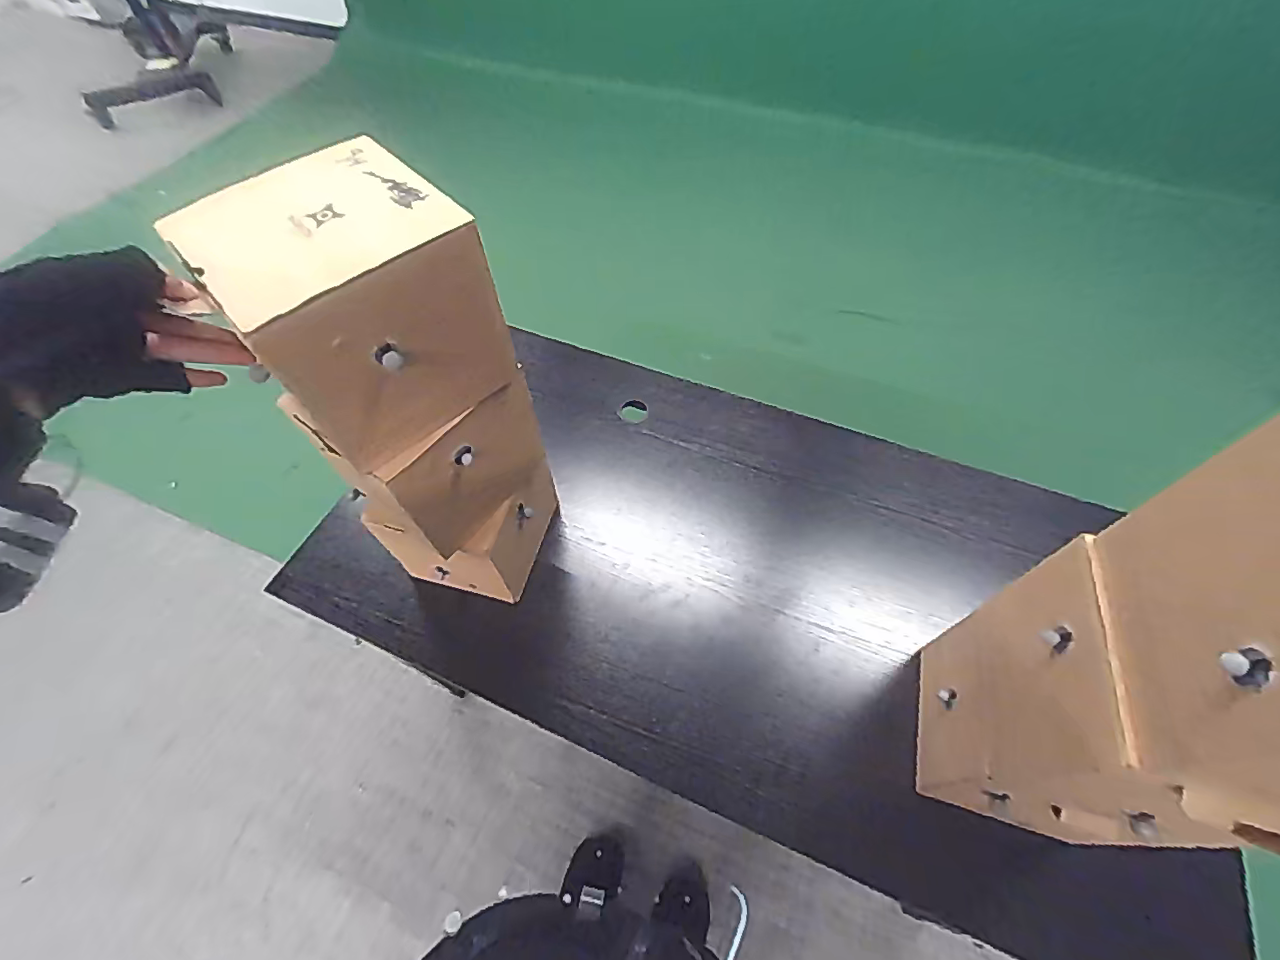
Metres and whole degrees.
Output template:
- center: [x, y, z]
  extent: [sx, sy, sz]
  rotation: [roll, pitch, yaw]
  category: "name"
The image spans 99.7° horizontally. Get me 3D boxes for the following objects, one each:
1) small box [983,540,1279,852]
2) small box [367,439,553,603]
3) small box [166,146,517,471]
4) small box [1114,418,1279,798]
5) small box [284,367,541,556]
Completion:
- center: [0.408, 0.178, 0.442]
  extent: [0.168, 0.176, 0.179]
  rotation: [12, 58, 10]
  category: "small box"
- center: [-0.226, 0.043, 0.739]
  extent: [0.168, 0.176, 0.179]
  rotation: [12, 60, 8]
  category: "small box"
- center: [-0.232, -0.140, 0.465]
  extent: [0.179, 0.176, 0.168]
  rotation: [-39, 66, -20]
  category: "small box"
- center: [0.412, 0.082, 0.290]
  extent: [0.168, 0.176, 0.179]
  rotation: [13, 57, 9]
  category: "small box"
- center: [-0.231, -0.046, 0.601]
  extent: [0.168, 0.176, 0.179]
  rotation: [32, 63, 18]
  category: "small box"
